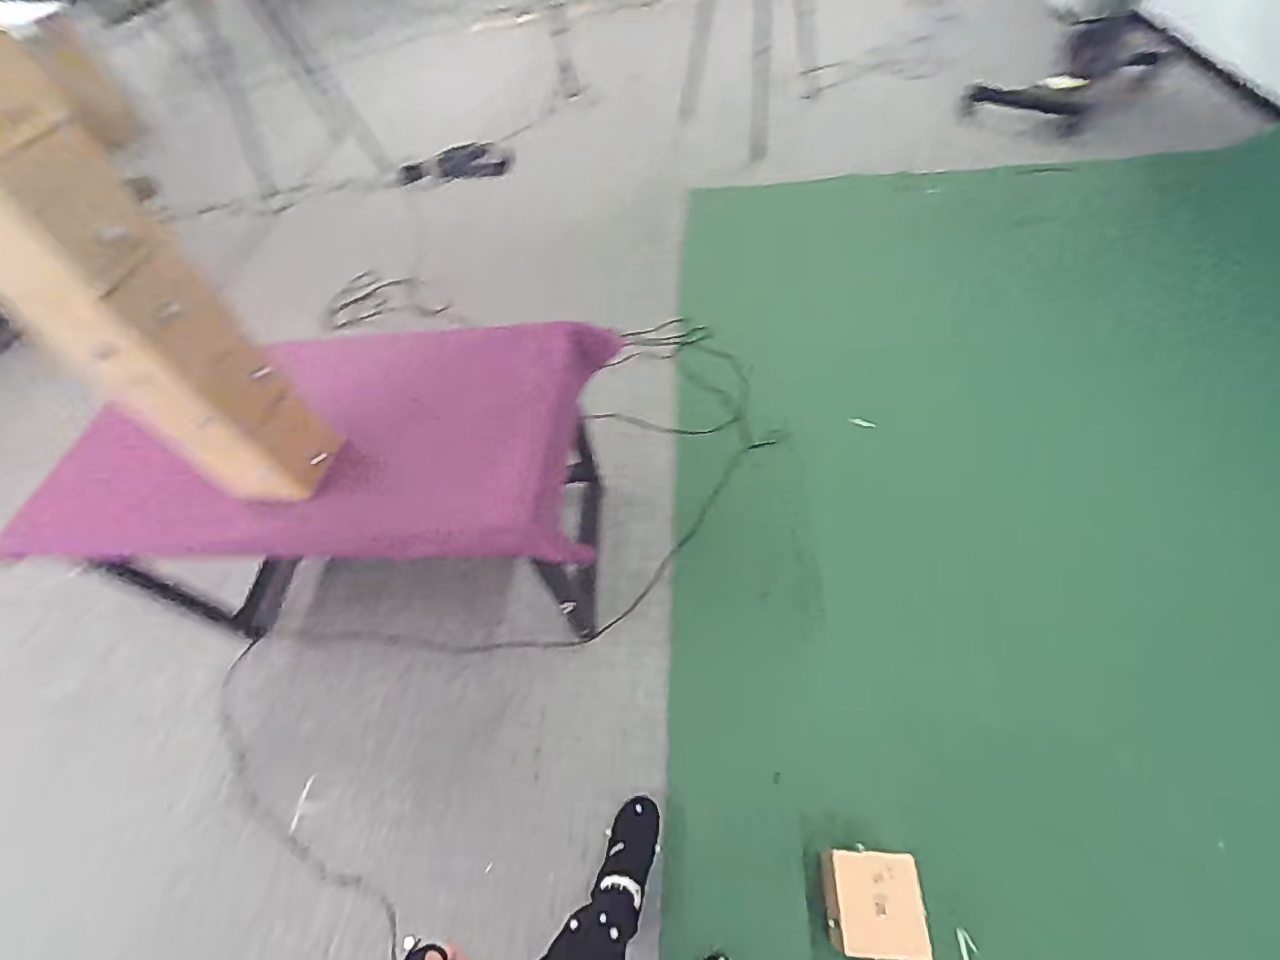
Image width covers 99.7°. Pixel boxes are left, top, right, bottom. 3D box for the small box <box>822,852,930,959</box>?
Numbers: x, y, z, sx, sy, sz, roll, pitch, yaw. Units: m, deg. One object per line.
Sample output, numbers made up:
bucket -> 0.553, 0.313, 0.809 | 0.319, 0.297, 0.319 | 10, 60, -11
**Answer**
small box -> 0.493, 0.908, 1.153 | 0.168, 0.176, 0.179 | 0, 55, 7
